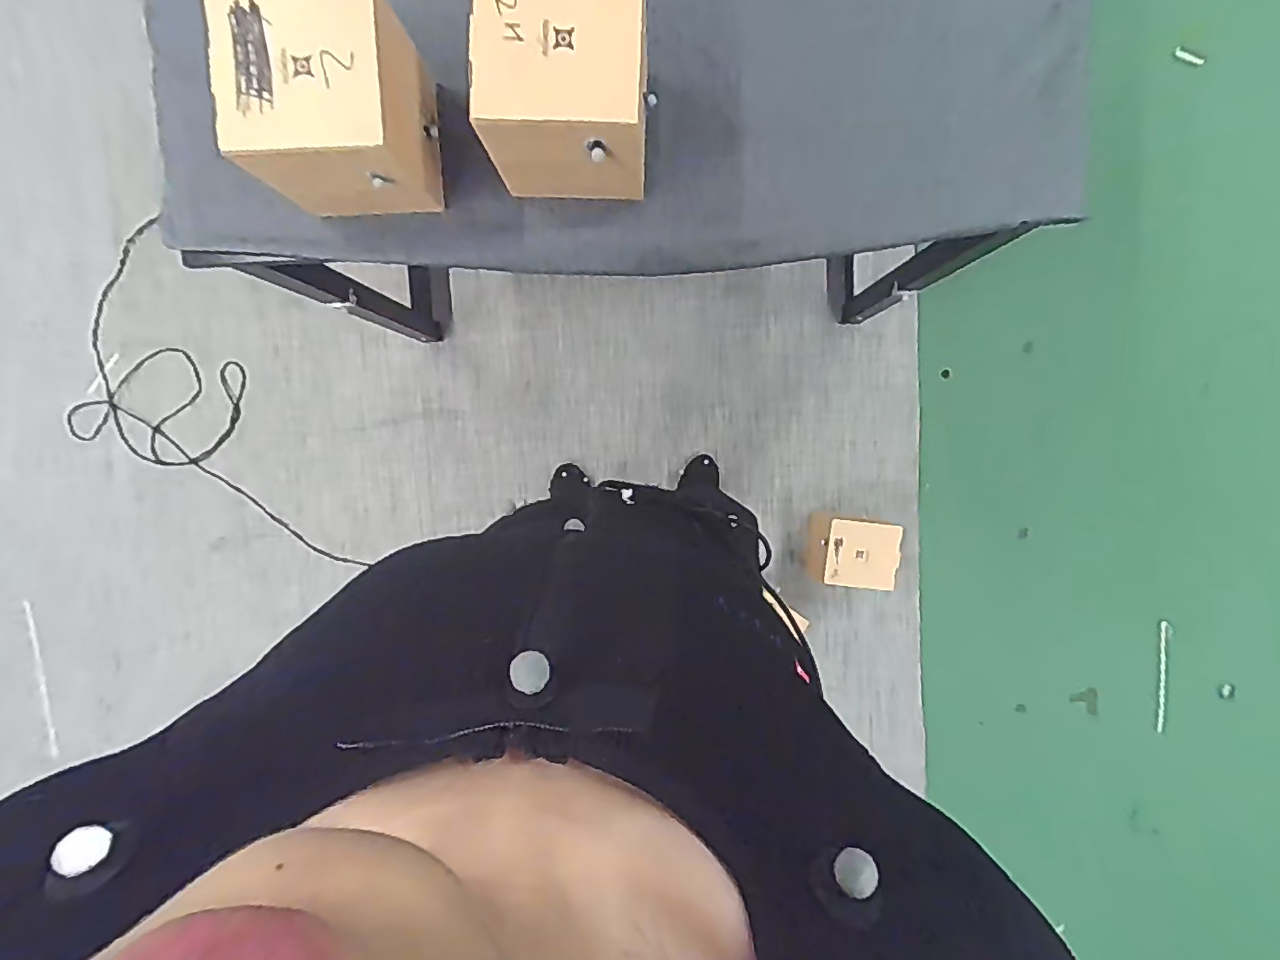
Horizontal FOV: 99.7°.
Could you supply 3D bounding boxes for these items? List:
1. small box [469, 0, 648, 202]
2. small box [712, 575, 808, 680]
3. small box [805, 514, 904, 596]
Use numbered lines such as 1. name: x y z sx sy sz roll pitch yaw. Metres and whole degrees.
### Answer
1. small box: -0.081 -0.442 0.625 0.179 0.176 0.168 3 93 2
2. small box: 0.304 0.377 1.415 0.168 0.176 0.179 36 94 -2
3. small box: 0.545 0.187 1.392 0.179 0.176 0.168 7 96 1
